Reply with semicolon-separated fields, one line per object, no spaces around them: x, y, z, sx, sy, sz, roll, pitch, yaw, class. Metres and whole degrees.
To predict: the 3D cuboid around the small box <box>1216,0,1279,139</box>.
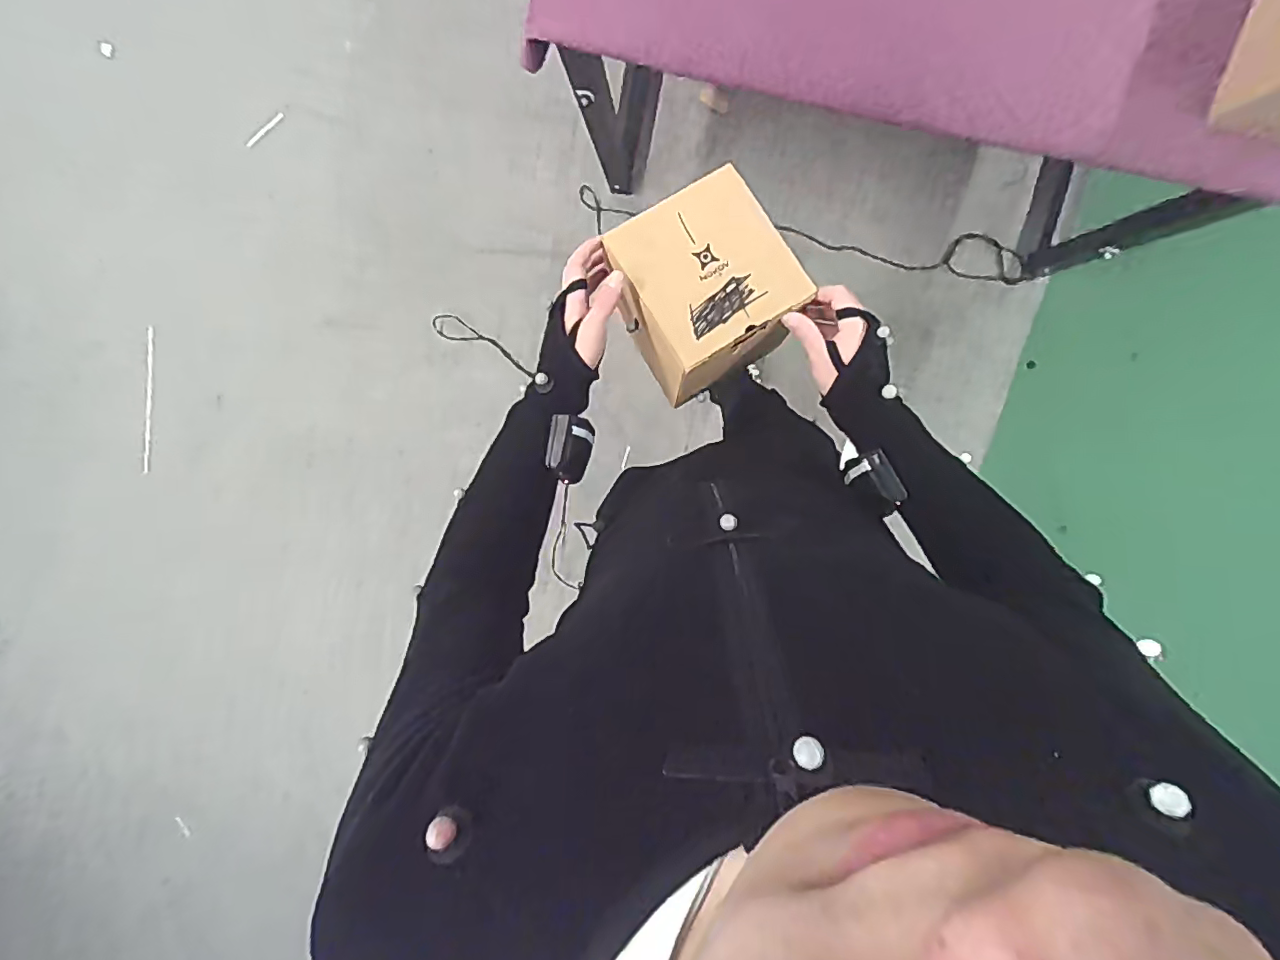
0.848;-0.526;0.624;0.168;0.176;0.179;15;102;5;small box
